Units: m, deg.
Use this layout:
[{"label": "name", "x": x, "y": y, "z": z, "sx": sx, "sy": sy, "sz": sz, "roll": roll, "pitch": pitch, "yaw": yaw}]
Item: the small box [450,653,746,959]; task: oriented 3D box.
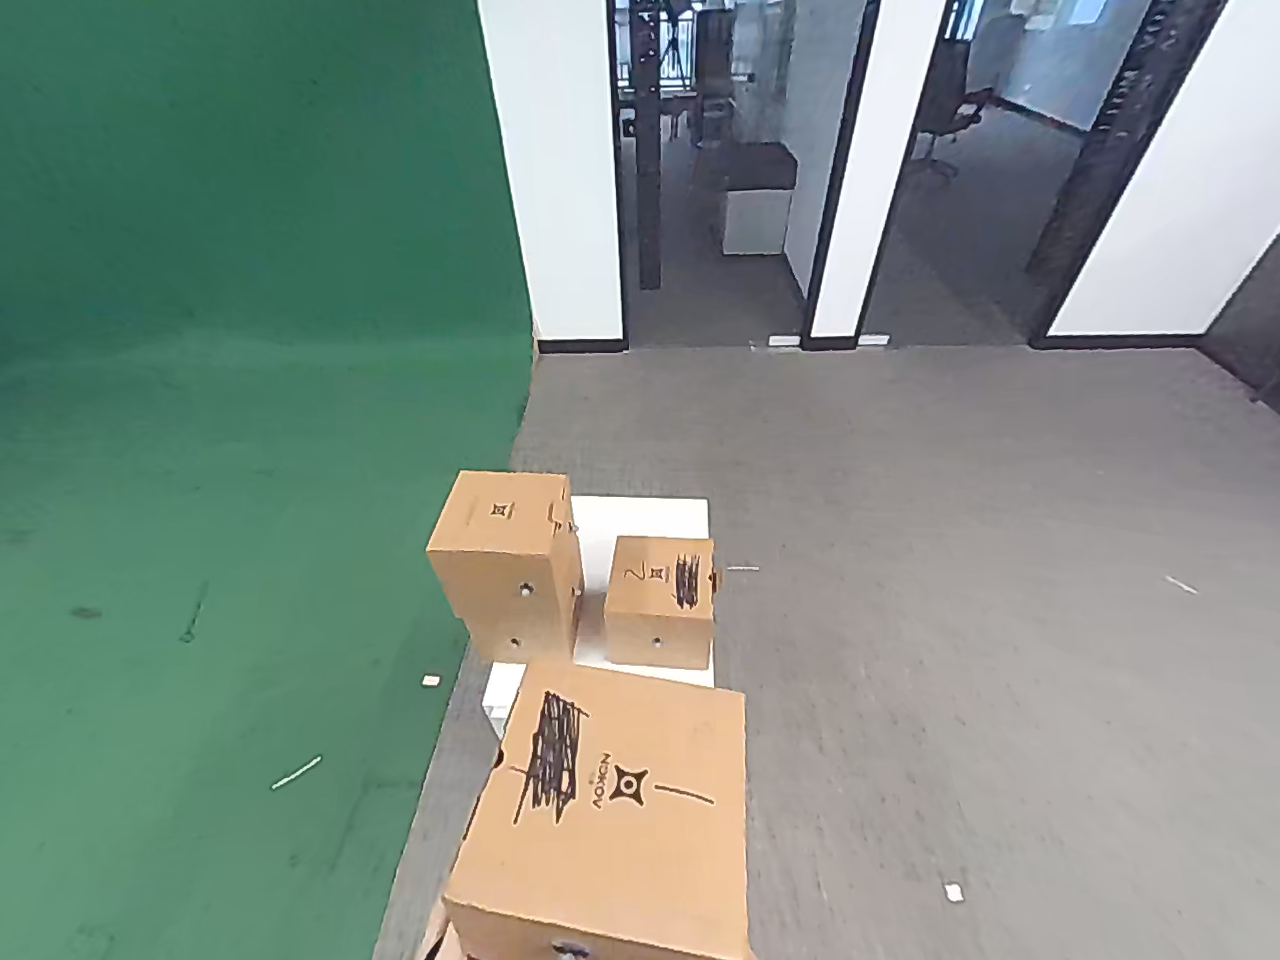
[{"label": "small box", "x": -0.020, "y": 0.264, "z": 0.416, "sx": 0.179, "sy": 0.176, "sz": 0.168, "roll": 9, "pitch": 37, "yaw": 4}]

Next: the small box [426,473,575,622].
[{"label": "small box", "x": -0.202, "y": 0.108, "z": 0.847, "sx": 0.179, "sy": 0.176, "sz": 0.168, "roll": 1, "pitch": 42, "yaw": 3}]

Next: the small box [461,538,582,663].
[{"label": "small box", "x": -0.200, "y": 0.215, "z": 0.970, "sx": 0.168, "sy": 0.176, "sz": 0.179, "roll": 3, "pitch": 43, "yaw": 3}]
